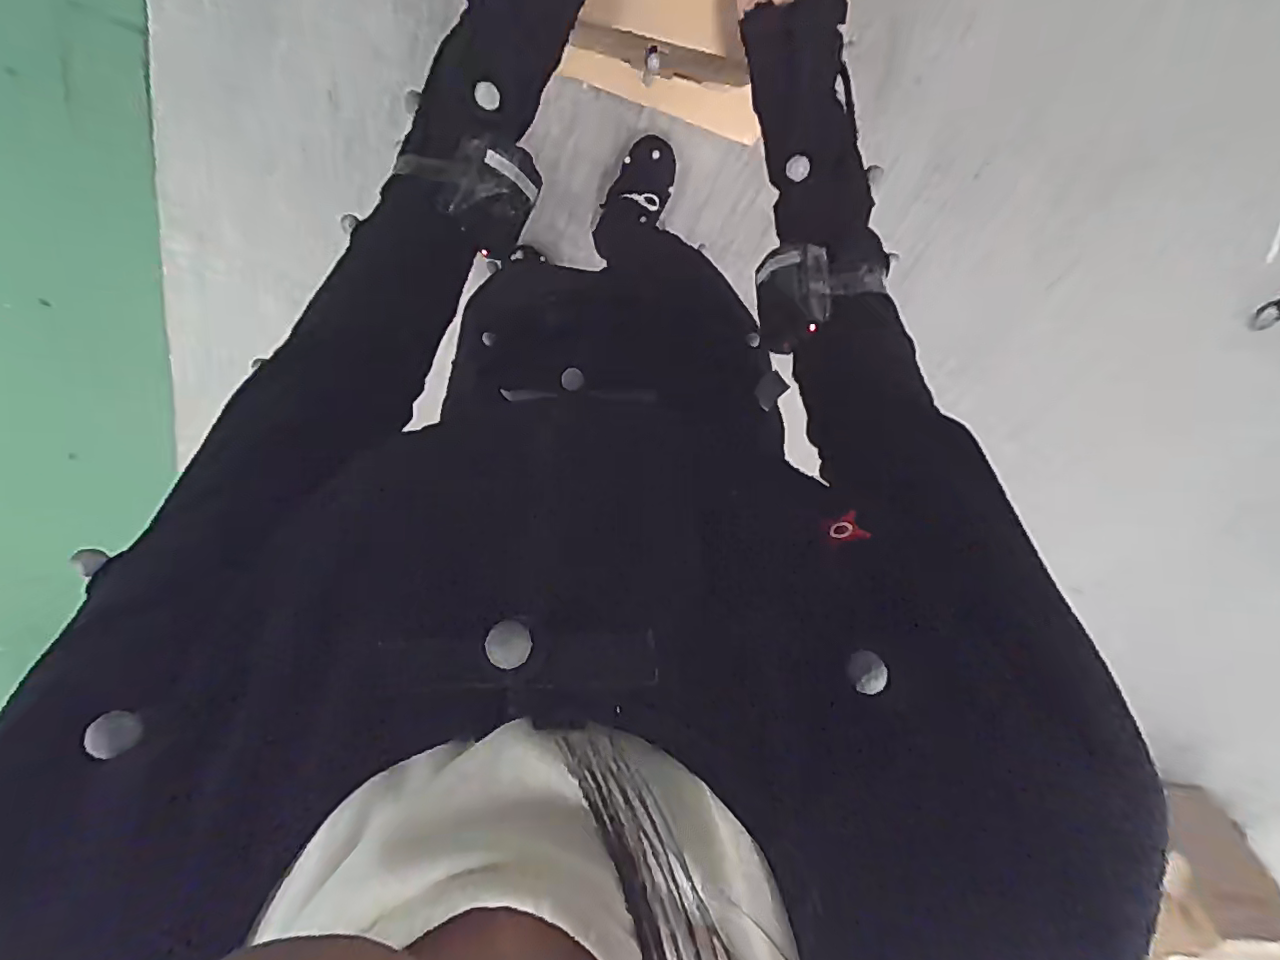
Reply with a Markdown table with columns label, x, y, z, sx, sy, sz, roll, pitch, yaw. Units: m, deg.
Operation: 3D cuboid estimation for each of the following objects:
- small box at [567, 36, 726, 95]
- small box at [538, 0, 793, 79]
| label | x | y | z | sx | sy | sz | roll | pitch | yaw |
| --- | --- | --- | --- | --- | --- | --- | --- | --- | --- |
| small box | 0.031 | -0.525 | 0.551 | 0.168 | 0.176 | 0.179 | 12 | 127 | -8 |
| small box | 0.028 | -0.421 | 0.406 | 0.179 | 0.176 | 0.168 | 8 | 122 | -6 |
